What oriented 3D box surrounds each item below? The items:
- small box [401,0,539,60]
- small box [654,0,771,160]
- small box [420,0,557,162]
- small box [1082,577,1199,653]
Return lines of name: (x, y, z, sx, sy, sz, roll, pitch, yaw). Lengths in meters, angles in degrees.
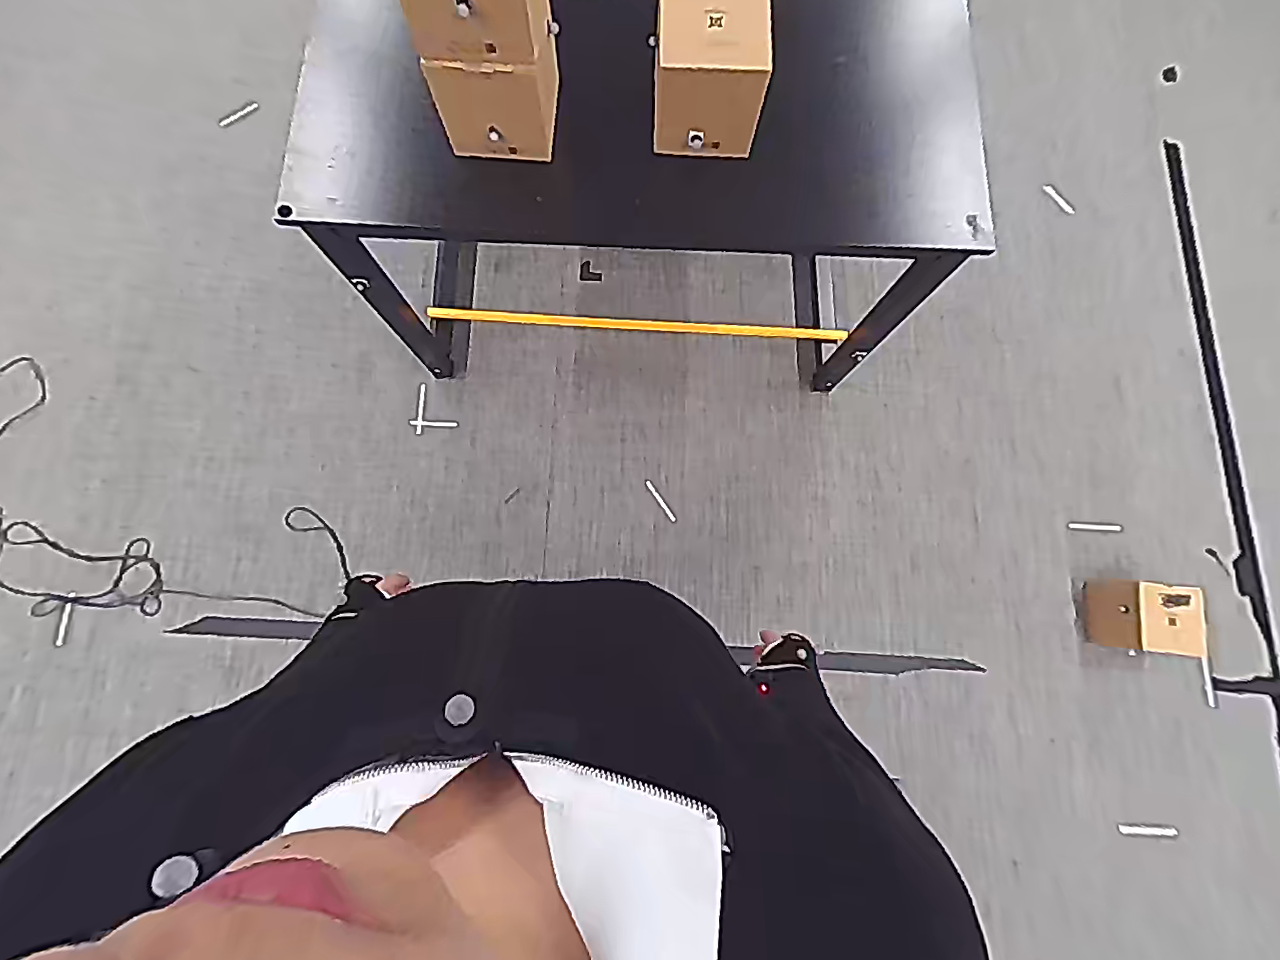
small box: (-0.225, -0.691, 0.702, 0.168, 0.176, 0.179, 1, 79, -2)
small box: (0.109, -0.660, 0.877, 0.168, 0.176, 0.179, 1, 79, 0)
small box: (-0.228, -0.650, 0.861, 0.168, 0.176, 0.179, 3, 79, -1)
small box: (1.337, 0.359, 1.457, 0.168, 0.176, 0.179, 6, 80, 0)
